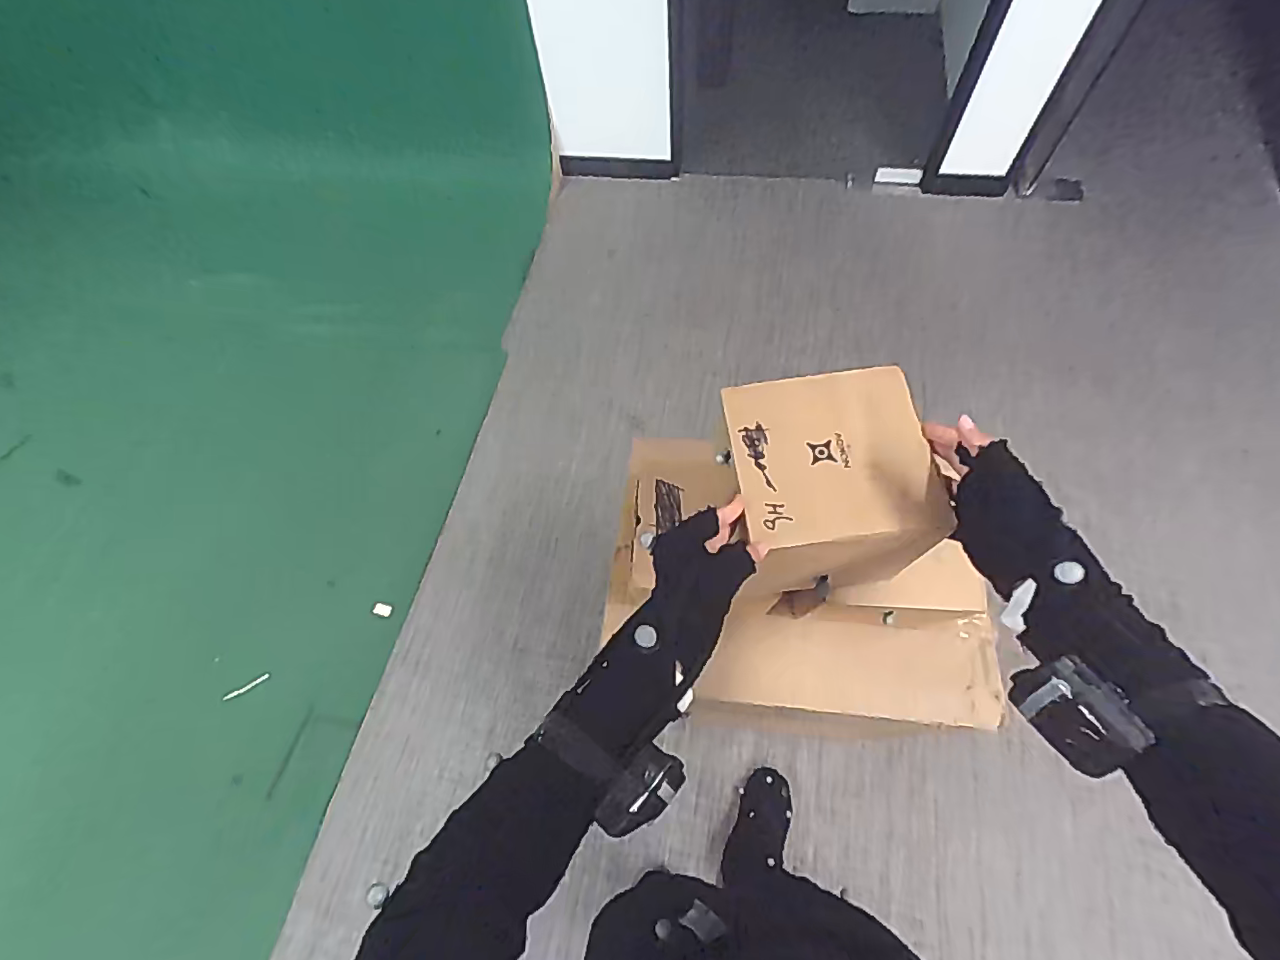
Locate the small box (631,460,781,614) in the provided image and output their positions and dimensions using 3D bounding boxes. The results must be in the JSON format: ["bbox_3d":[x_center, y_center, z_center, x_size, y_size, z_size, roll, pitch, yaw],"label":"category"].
[{"bbox_3d":[0.088,0.083,0.723,0.179,0.176,0.168,3,69,5],"label":"small box"}]

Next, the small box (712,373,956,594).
[{"bbox_3d":[0.177,0.012,0.559,0.179,0.176,0.168,-7,64,0],"label":"small box"}]

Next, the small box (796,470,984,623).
[{"bbox_3d":[0.302,0.092,0.701,0.179,0.176,0.168,1,70,4],"label":"small box"}]
